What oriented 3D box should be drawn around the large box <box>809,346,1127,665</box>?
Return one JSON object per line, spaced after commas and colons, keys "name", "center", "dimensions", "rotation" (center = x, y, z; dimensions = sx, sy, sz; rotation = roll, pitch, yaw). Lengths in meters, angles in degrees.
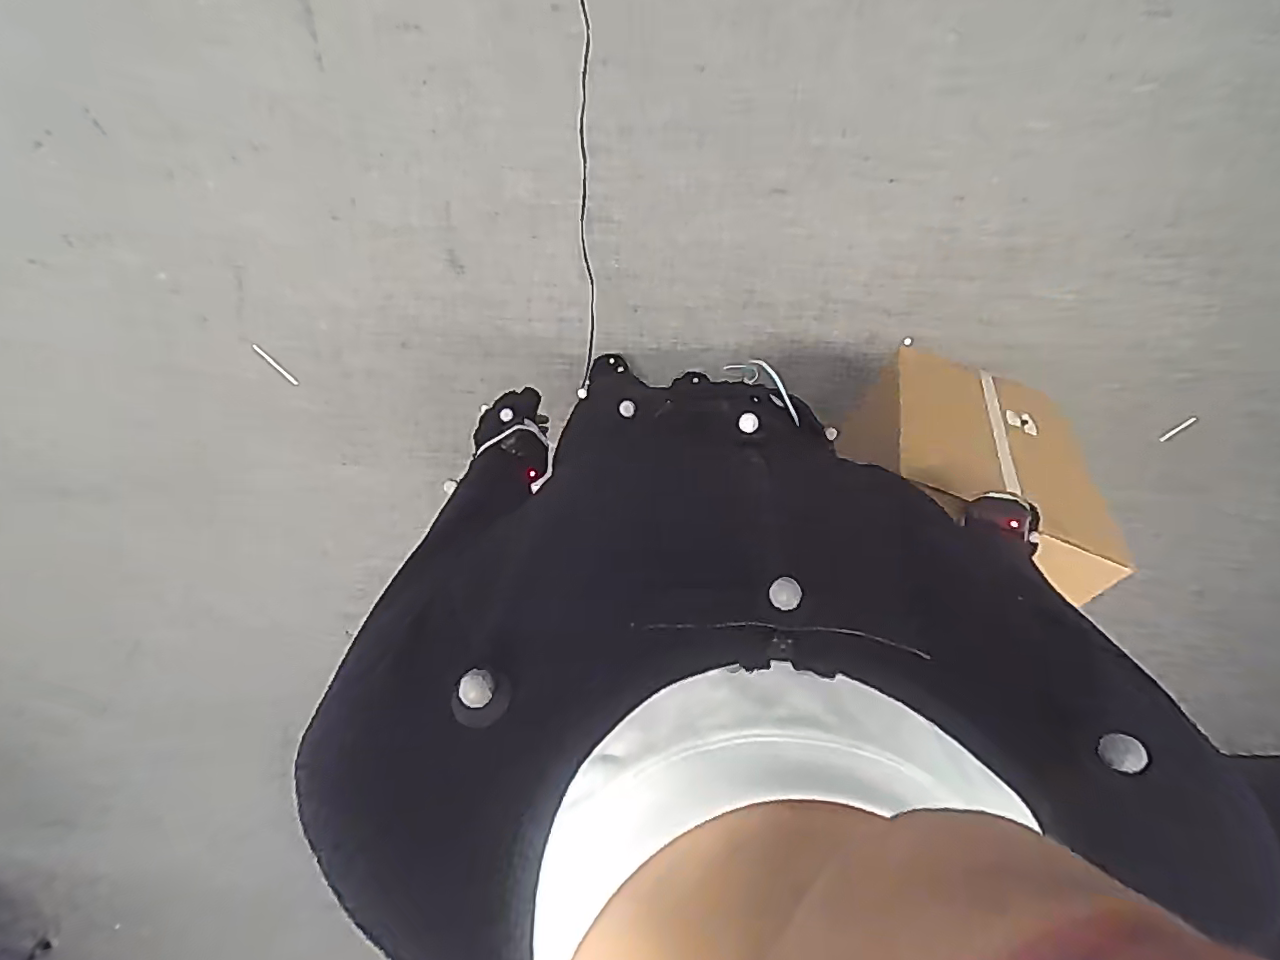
{"name": "large box", "center": [0.517, 0.034, 0.947], "dimensions": [0.320, 0.408, 0.320], "rotation": [24, 134, 5]}
